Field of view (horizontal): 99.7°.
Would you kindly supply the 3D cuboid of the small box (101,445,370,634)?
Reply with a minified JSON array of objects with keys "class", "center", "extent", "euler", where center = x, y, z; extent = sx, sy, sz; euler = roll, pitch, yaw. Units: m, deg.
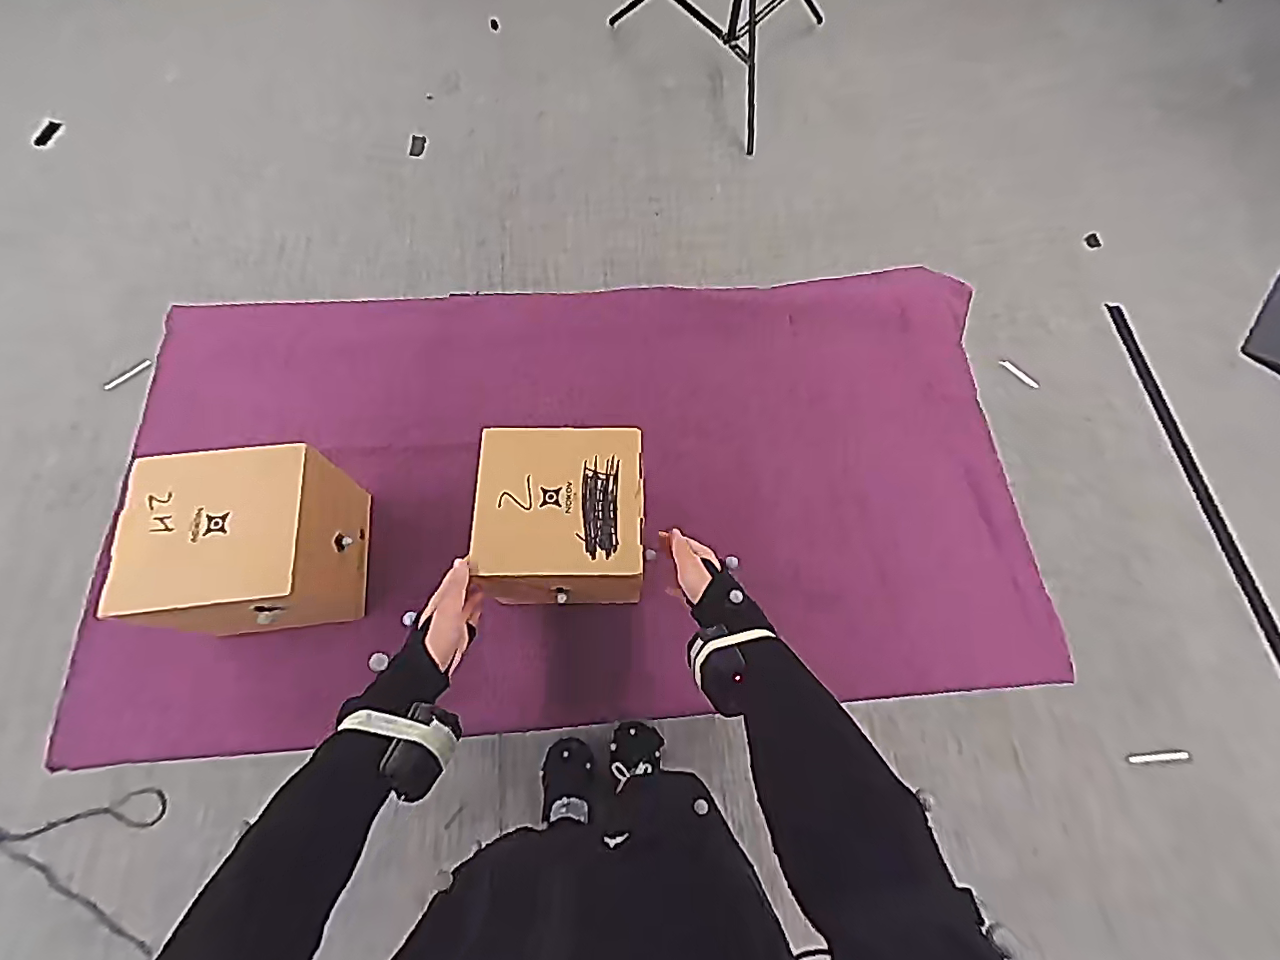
[{"class":"small box","center":[-0.429,0.075,0.613],"extent":[0.179,0.176,0.168],"euler":[-6,68,-5]}]
